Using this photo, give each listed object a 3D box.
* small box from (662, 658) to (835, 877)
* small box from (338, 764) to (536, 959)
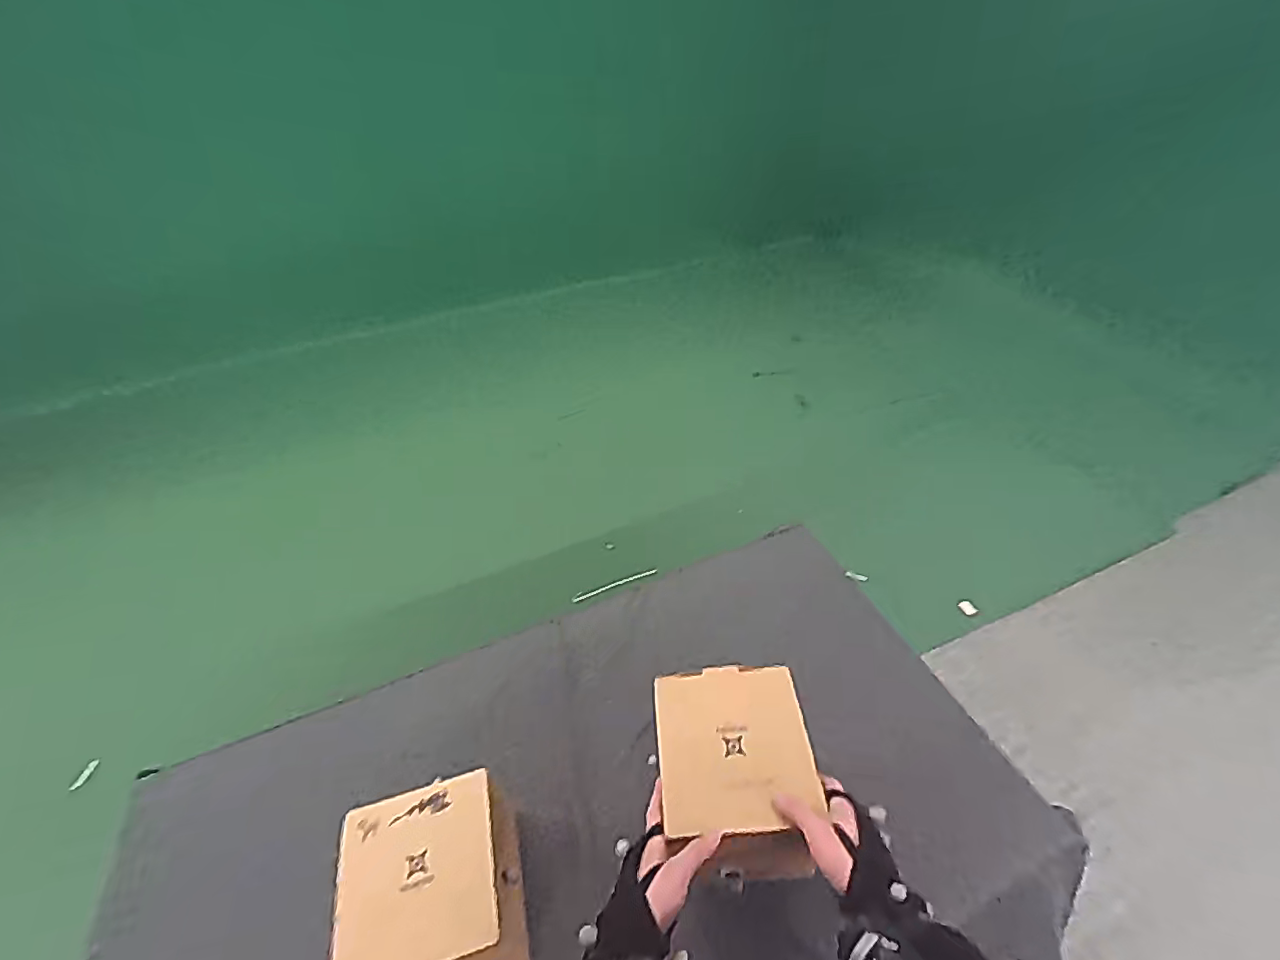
[{"bbox_3d":[0.114,0.334,0.633,0.168,0.176,0.179,-5,39,4],"label":"small box"},{"bbox_3d":[-0.232,0.481,0.642,0.168,0.176,0.179,-17,44,-10],"label":"small box"}]
